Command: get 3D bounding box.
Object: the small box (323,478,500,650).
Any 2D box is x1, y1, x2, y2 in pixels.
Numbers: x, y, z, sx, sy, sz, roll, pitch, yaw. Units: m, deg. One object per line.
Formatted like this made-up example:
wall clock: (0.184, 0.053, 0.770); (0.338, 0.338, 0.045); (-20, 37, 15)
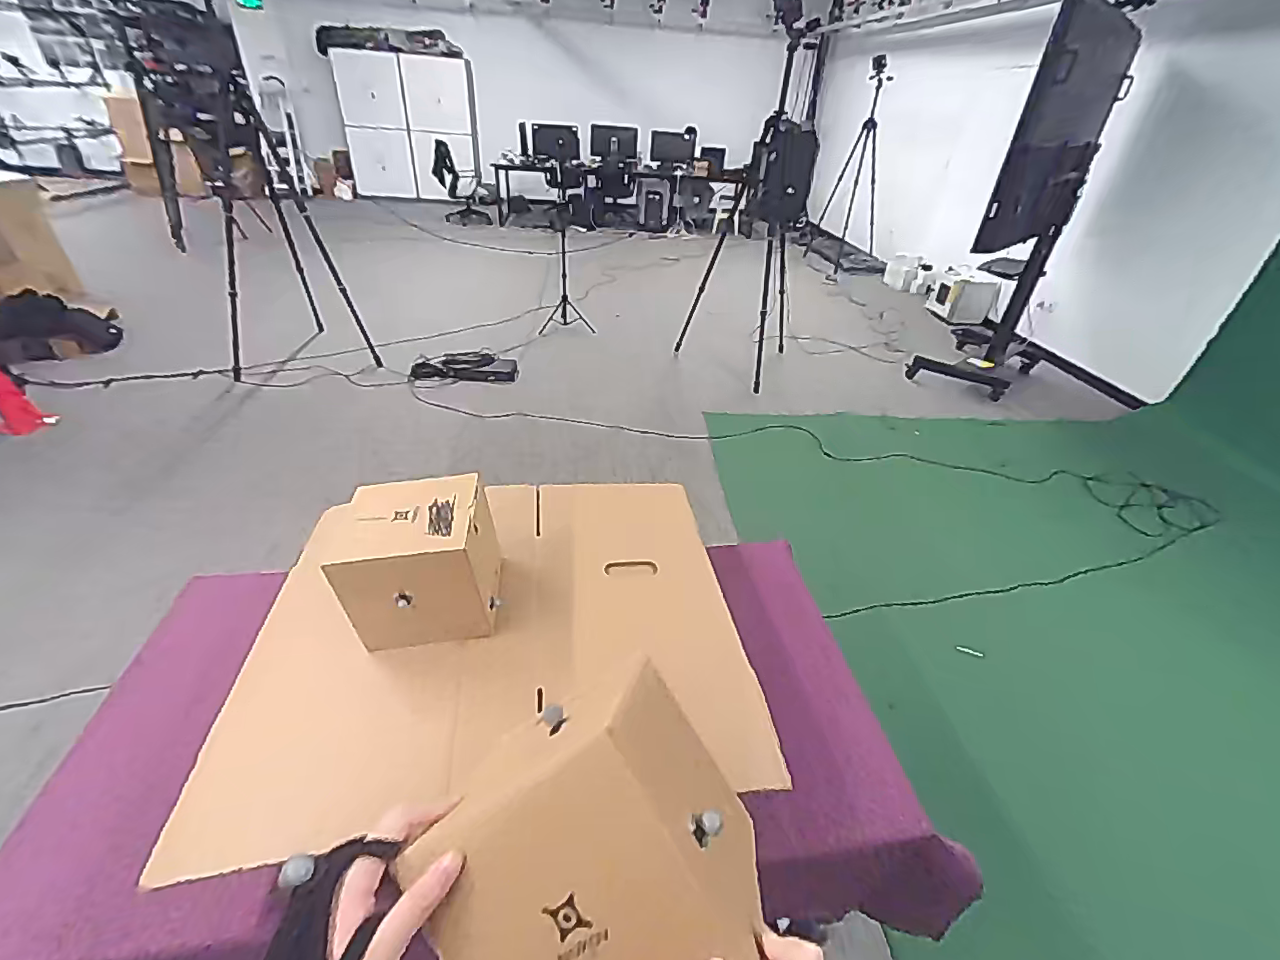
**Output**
small box: (-0.306, 0.120, 0.773); (0.179, 0.176, 0.168); (-7, 36, -4)
